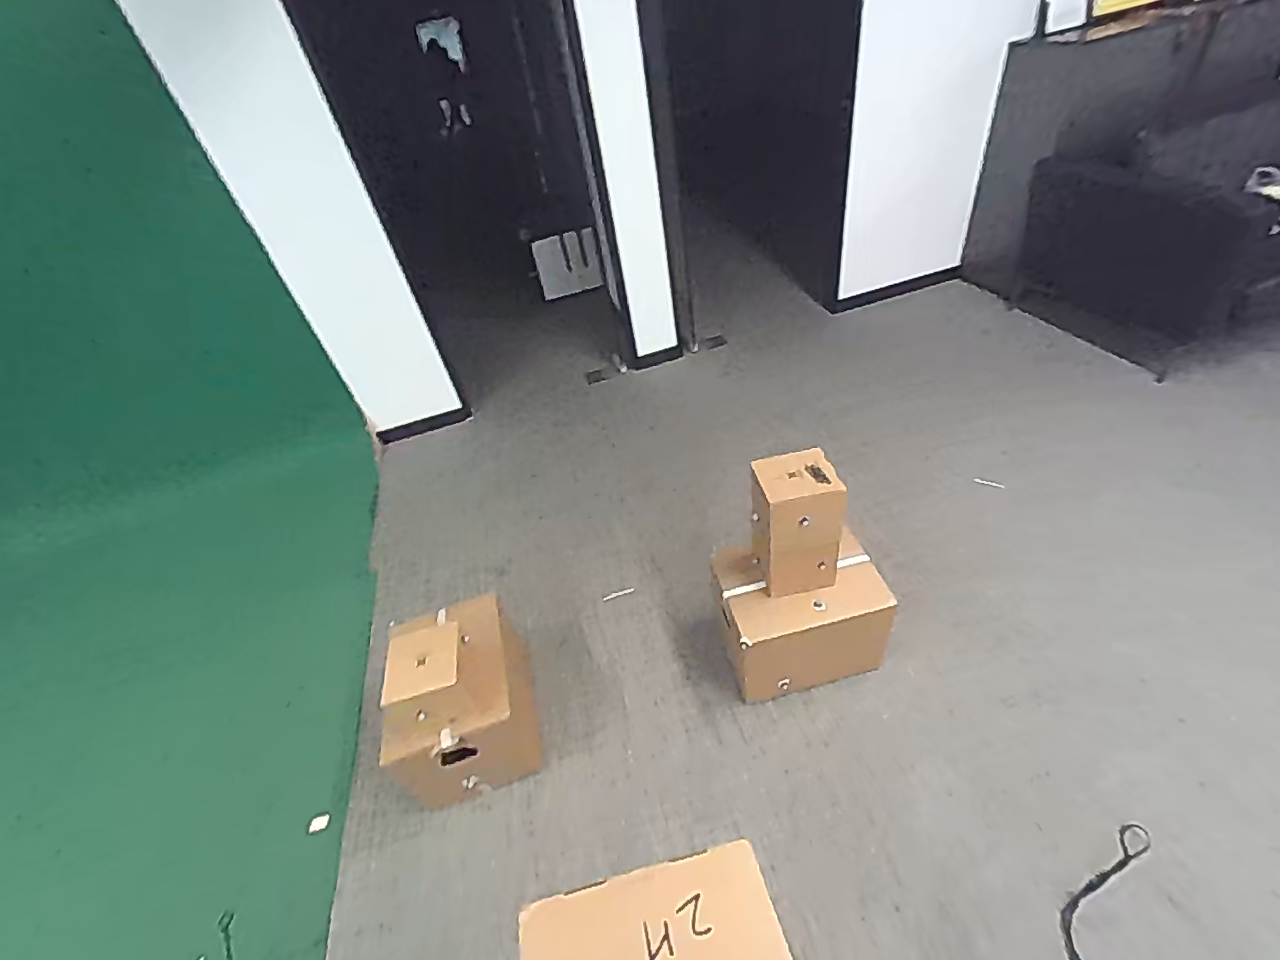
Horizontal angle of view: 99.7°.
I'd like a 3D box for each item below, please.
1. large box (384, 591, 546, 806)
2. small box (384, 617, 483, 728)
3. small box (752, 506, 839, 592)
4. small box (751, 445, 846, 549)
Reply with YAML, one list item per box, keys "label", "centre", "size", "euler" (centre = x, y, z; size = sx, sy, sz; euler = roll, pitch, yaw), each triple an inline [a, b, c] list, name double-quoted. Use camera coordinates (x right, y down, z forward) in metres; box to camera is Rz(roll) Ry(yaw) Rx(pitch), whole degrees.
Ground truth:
- label: "large box"
  centre: [-0.480, 0.598, 1.506]
  size: [0.320, 0.320, 0.408]
  euler: [-18, 40, -7]
- label: "small box"
  centre: [-0.480, 0.463, 1.283]
  size: [0.168, 0.176, 0.179]
  euler: [-15, 40, -5]
- label: "small box"
  centre: [0.398, 0.166, 1.409]
  size: [0.179, 0.176, 0.168]
  euler: [-12, 39, 0]
- label: "small box"
  centre: [0.374, 0.043, 1.303]
  size: [0.179, 0.176, 0.168]
  euler: [-12, 38, 1]
